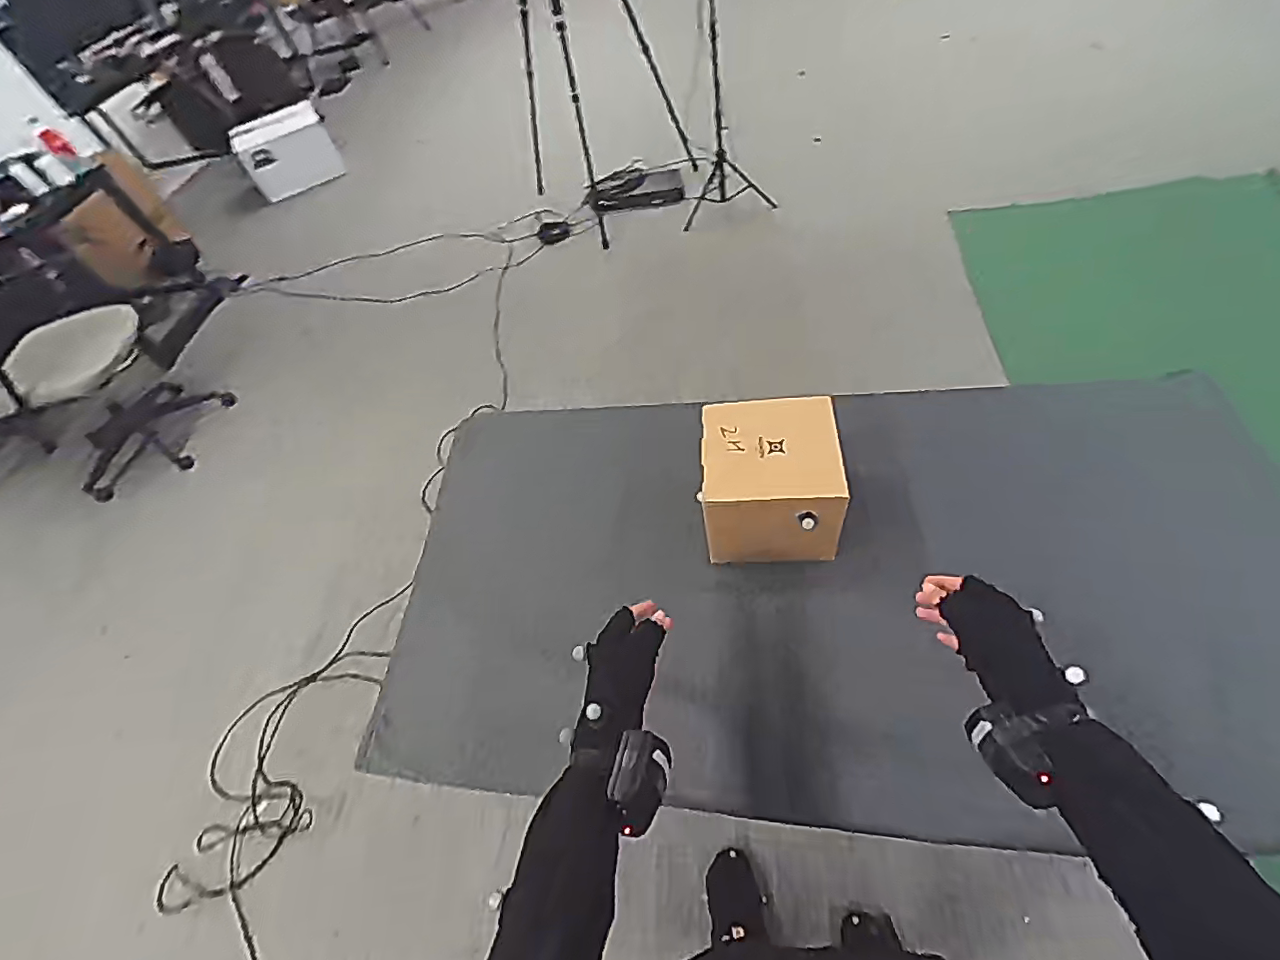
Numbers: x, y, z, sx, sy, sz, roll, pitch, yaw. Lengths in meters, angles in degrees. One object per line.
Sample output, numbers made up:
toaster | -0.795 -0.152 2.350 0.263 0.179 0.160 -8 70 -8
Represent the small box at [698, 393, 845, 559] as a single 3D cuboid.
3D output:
small box | 0.175 0.001 0.757 0.179 0.176 0.168 -4 54 11
